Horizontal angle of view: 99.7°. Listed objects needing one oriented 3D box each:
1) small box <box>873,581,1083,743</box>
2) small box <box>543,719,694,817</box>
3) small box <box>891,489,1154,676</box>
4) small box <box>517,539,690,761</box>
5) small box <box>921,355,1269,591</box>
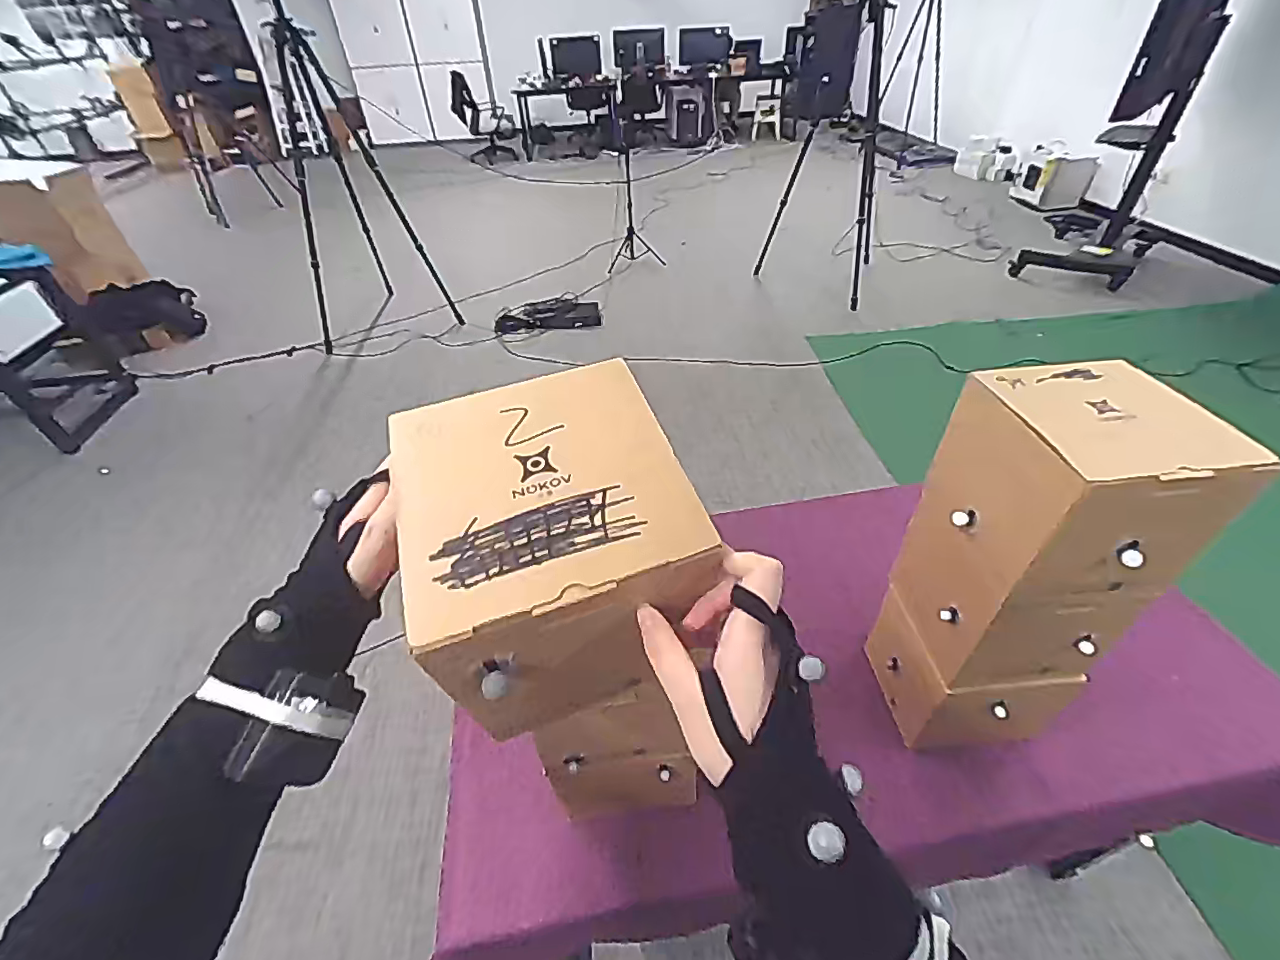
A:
[{"bbox_3d":[0.444,0.248,0.753,0.179,0.176,0.168,-5,42,0],"label":"small box"},{"bbox_3d":[-0.027,0.321,0.718,0.179,0.176,0.168,-7,41,-4],"label":"small box"},{"bbox_3d":[0.432,0.120,0.652,0.168,0.176,0.179,-5,41,-1],"label":"small box"},{"bbox_3d":[-0.038,0.195,0.612,0.168,0.176,0.179,-8,40,-4],"label":"small box"},{"bbox_3d":[0.419,-0.003,0.543,0.168,0.176,0.179,-5,42,-2],"label":"small box"}]
